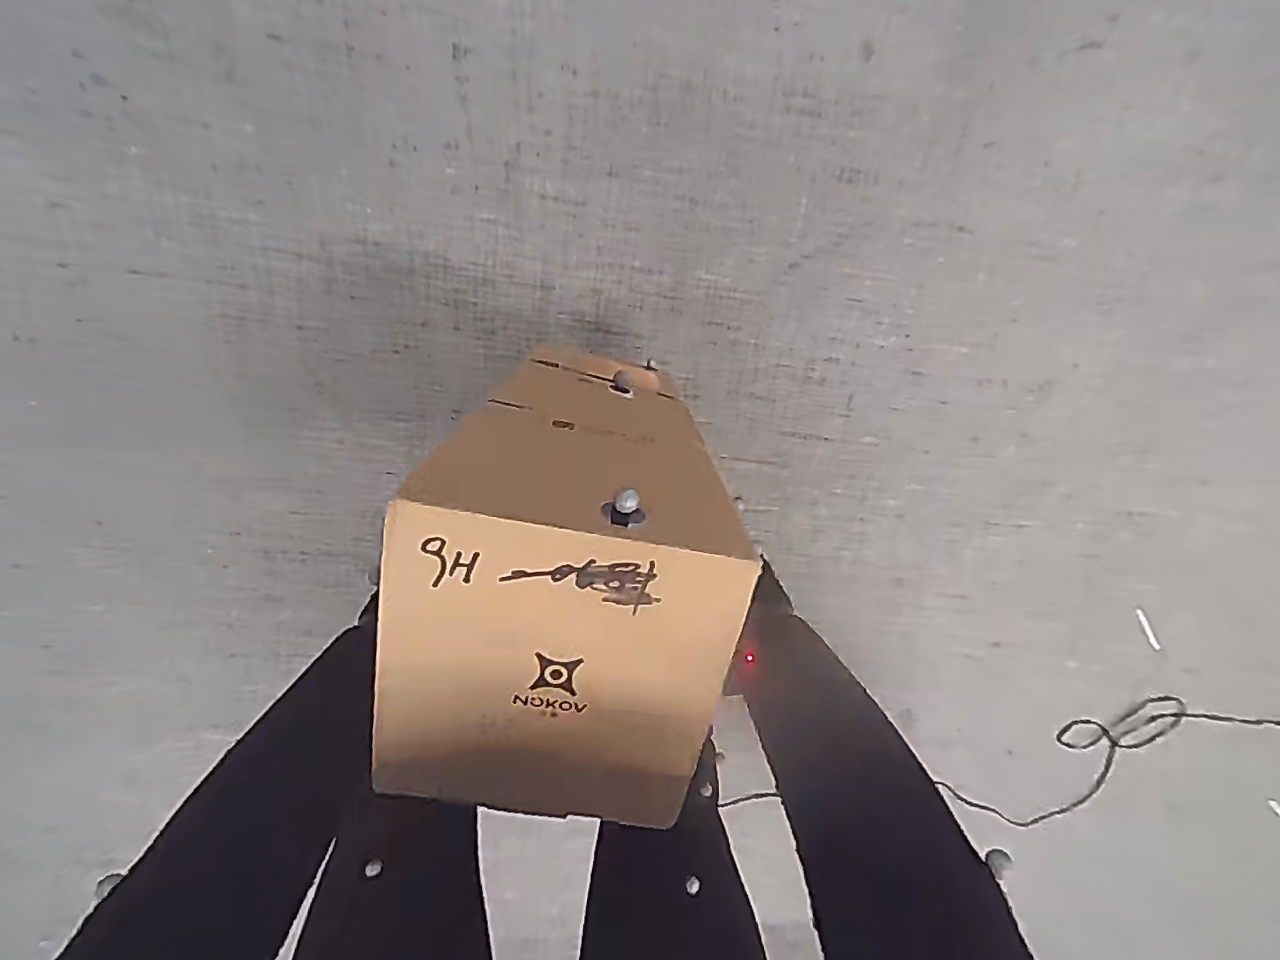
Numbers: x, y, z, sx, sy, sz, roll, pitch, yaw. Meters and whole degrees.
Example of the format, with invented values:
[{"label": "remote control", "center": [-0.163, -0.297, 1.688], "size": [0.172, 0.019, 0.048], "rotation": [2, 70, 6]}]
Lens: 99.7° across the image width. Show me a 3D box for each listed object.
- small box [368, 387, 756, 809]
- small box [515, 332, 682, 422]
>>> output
[{"label": "small box", "center": [-0.047, 0.059, 0.333], "size": [0.168, 0.176, 0.179], "rotation": [10, 112, -7]}, {"label": "small box", "center": [-0.060, -0.065, 0.634], "size": [0.168, 0.176, 0.179], "rotation": [13, 111, -7]}]
